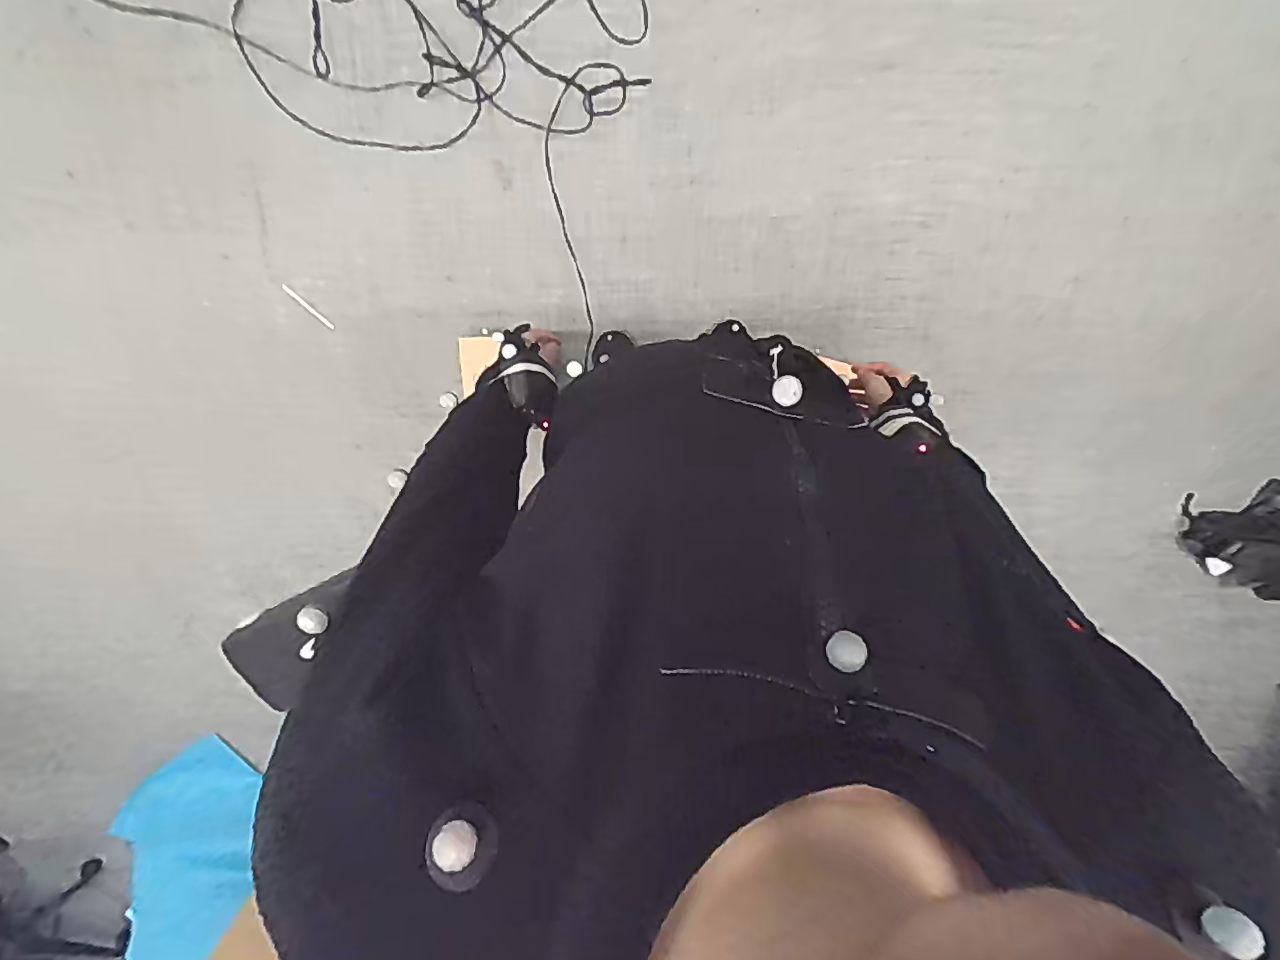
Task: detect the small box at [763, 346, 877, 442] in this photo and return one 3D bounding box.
[{"bbox_3d":[0.401,-0.203,1.238,0.179,0.176,0.168,13,109,-3],"label":"small box"}]
